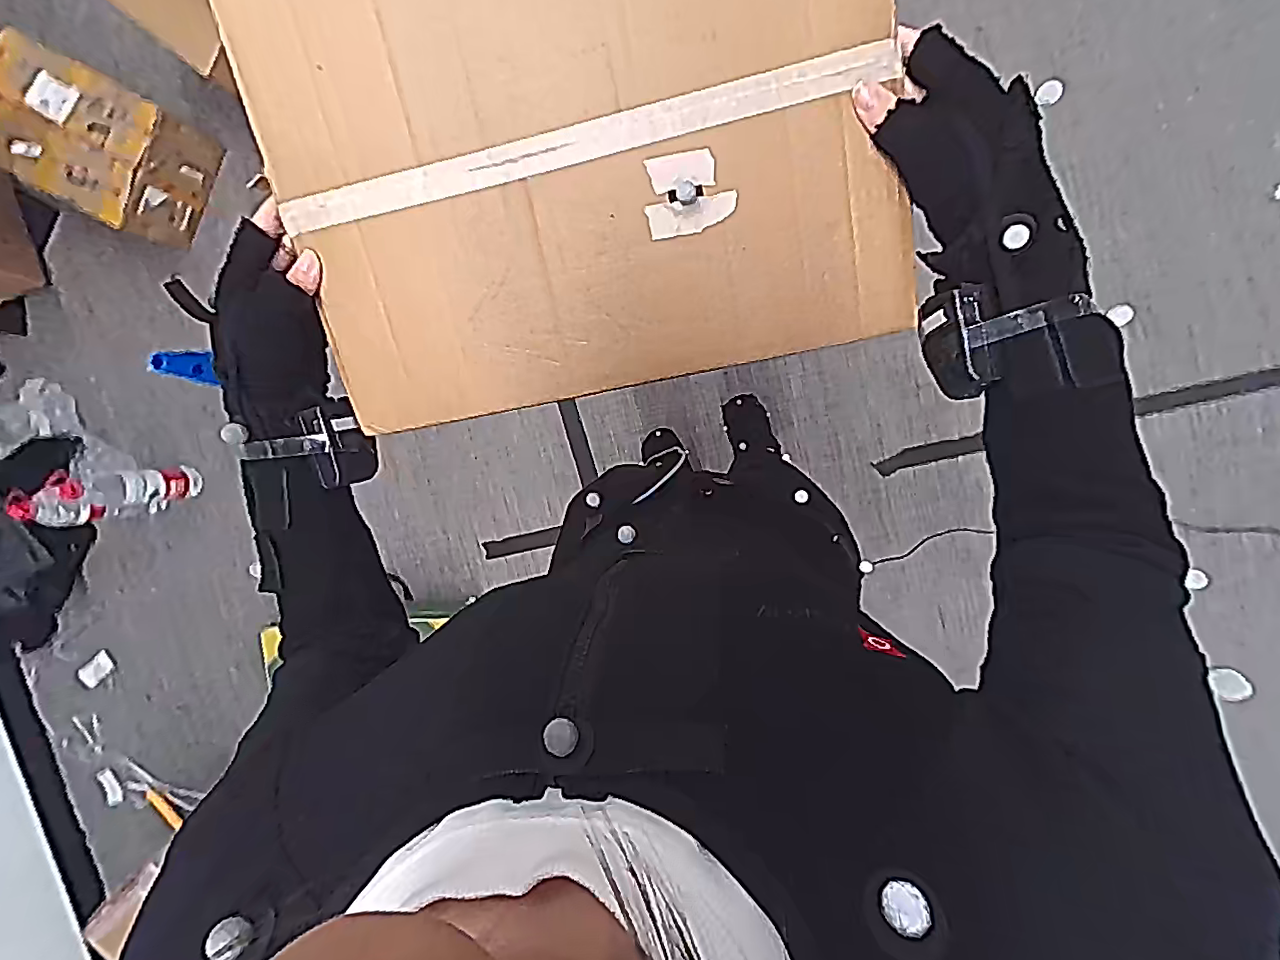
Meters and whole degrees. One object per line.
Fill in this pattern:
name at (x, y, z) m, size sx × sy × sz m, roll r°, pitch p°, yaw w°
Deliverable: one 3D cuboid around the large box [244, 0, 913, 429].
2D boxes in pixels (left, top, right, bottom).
large box at (-0.027, -0.259, 0.502) m, size 0.408 × 0.320 × 0.320 m, roll -10°, pitch 106°, yaw 6°
